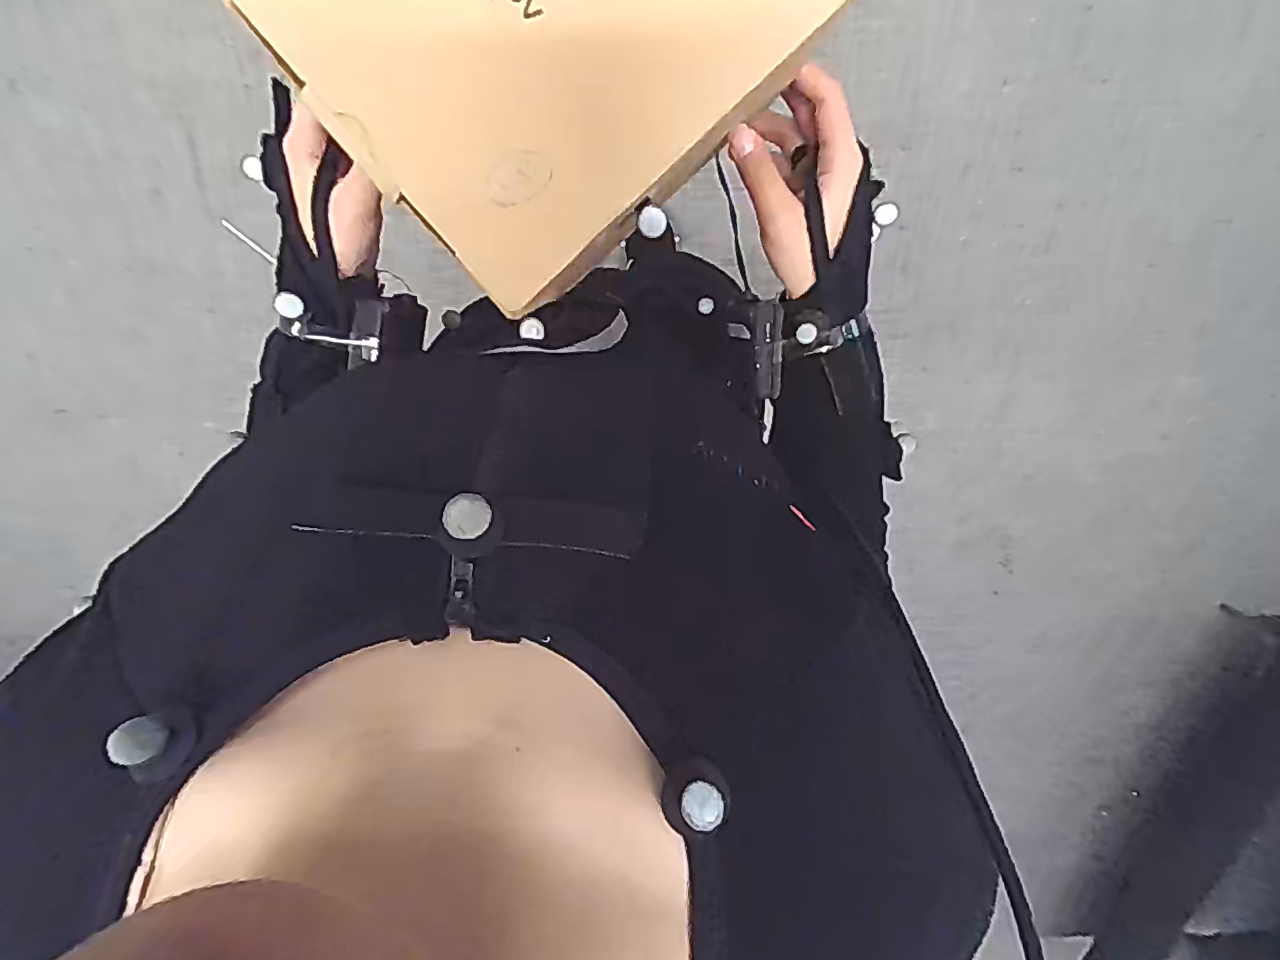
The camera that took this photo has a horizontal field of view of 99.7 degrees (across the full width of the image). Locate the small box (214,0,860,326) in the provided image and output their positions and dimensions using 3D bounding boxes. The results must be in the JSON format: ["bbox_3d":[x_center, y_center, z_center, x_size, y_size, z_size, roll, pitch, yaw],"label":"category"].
[{"bbox_3d":[-0.037,-0.199,0.256,0.179,0.176,0.168,-37,107,14],"label":"small box"}]
